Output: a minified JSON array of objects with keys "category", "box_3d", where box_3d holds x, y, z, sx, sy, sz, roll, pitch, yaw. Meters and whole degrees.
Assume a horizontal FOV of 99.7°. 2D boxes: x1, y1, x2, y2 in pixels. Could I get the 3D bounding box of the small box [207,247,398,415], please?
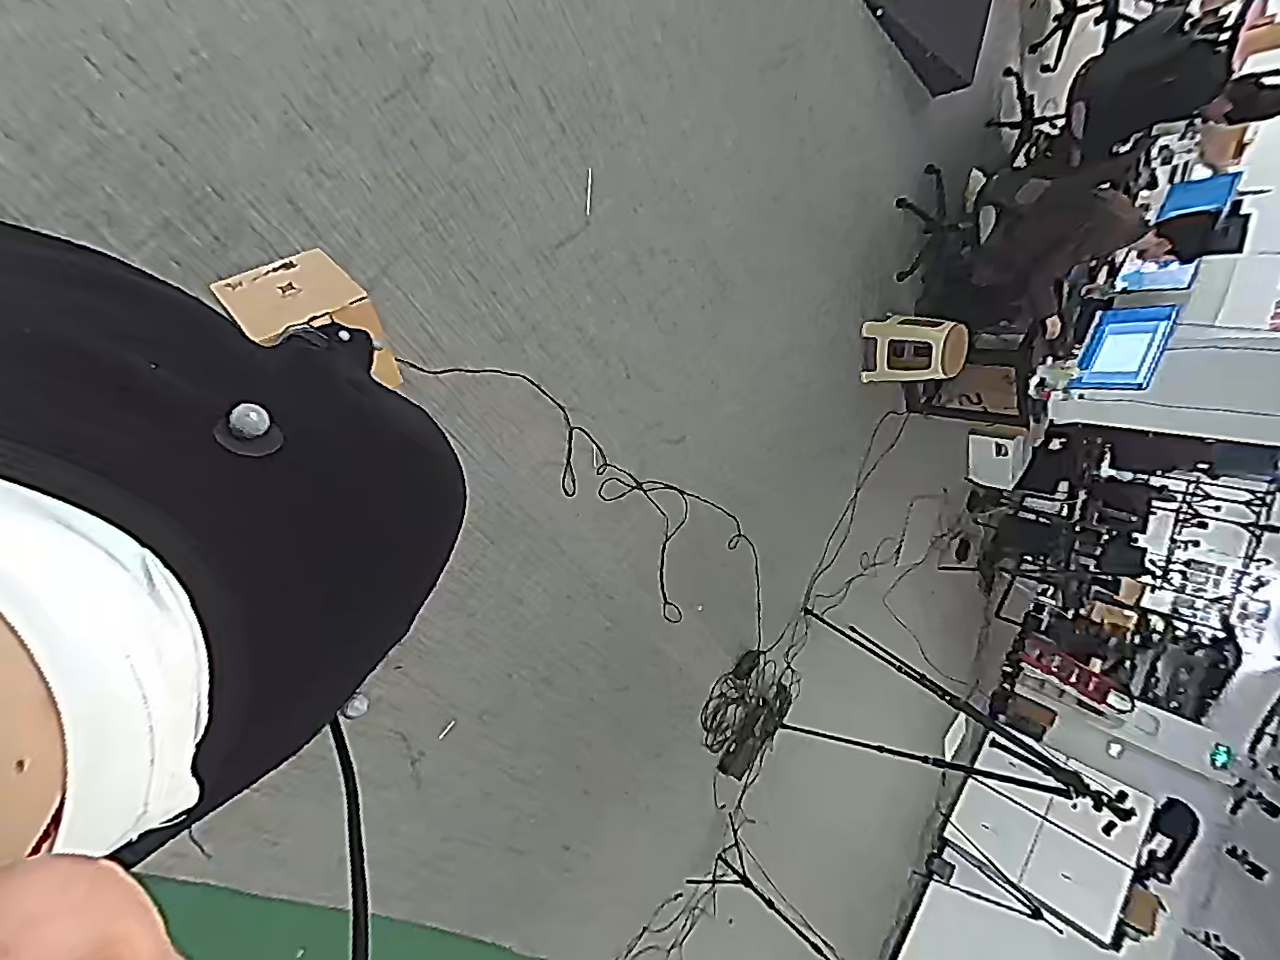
[{"category":"small box","box_3d":[-0.517,-0.227,0.852,0.168,0.179,0.176,-38,153,-27]}]
